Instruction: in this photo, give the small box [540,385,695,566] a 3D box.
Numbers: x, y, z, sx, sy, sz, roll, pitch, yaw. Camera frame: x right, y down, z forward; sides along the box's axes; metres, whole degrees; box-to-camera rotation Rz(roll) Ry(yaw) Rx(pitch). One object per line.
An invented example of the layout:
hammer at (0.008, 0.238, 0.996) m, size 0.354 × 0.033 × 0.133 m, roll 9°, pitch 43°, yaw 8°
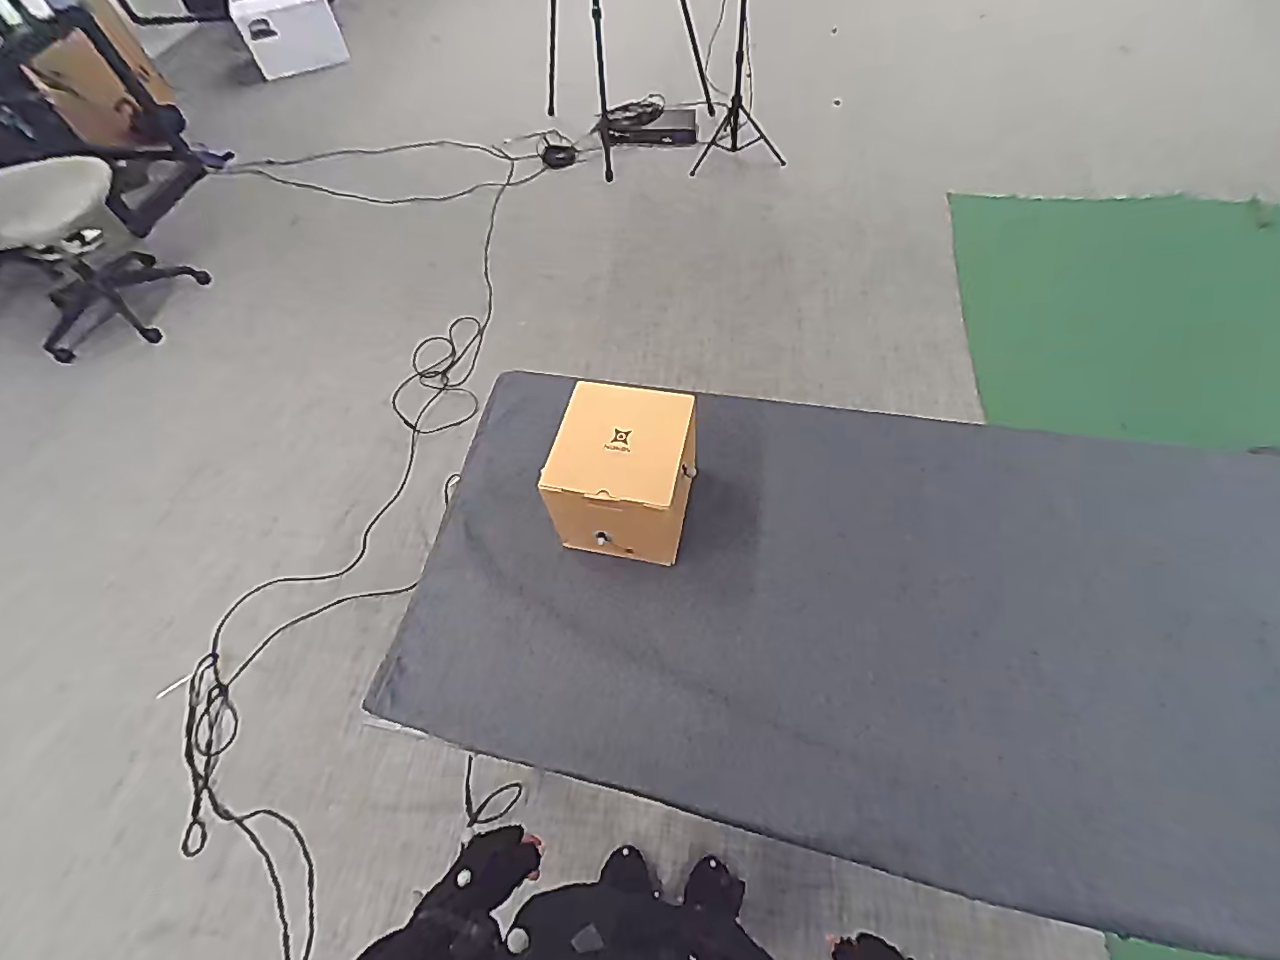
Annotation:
small box at (-0.021, -0.003, 0.752) m, size 0.168 × 0.176 × 0.179 m, roll 9°, pitch 60°, yaw 10°
